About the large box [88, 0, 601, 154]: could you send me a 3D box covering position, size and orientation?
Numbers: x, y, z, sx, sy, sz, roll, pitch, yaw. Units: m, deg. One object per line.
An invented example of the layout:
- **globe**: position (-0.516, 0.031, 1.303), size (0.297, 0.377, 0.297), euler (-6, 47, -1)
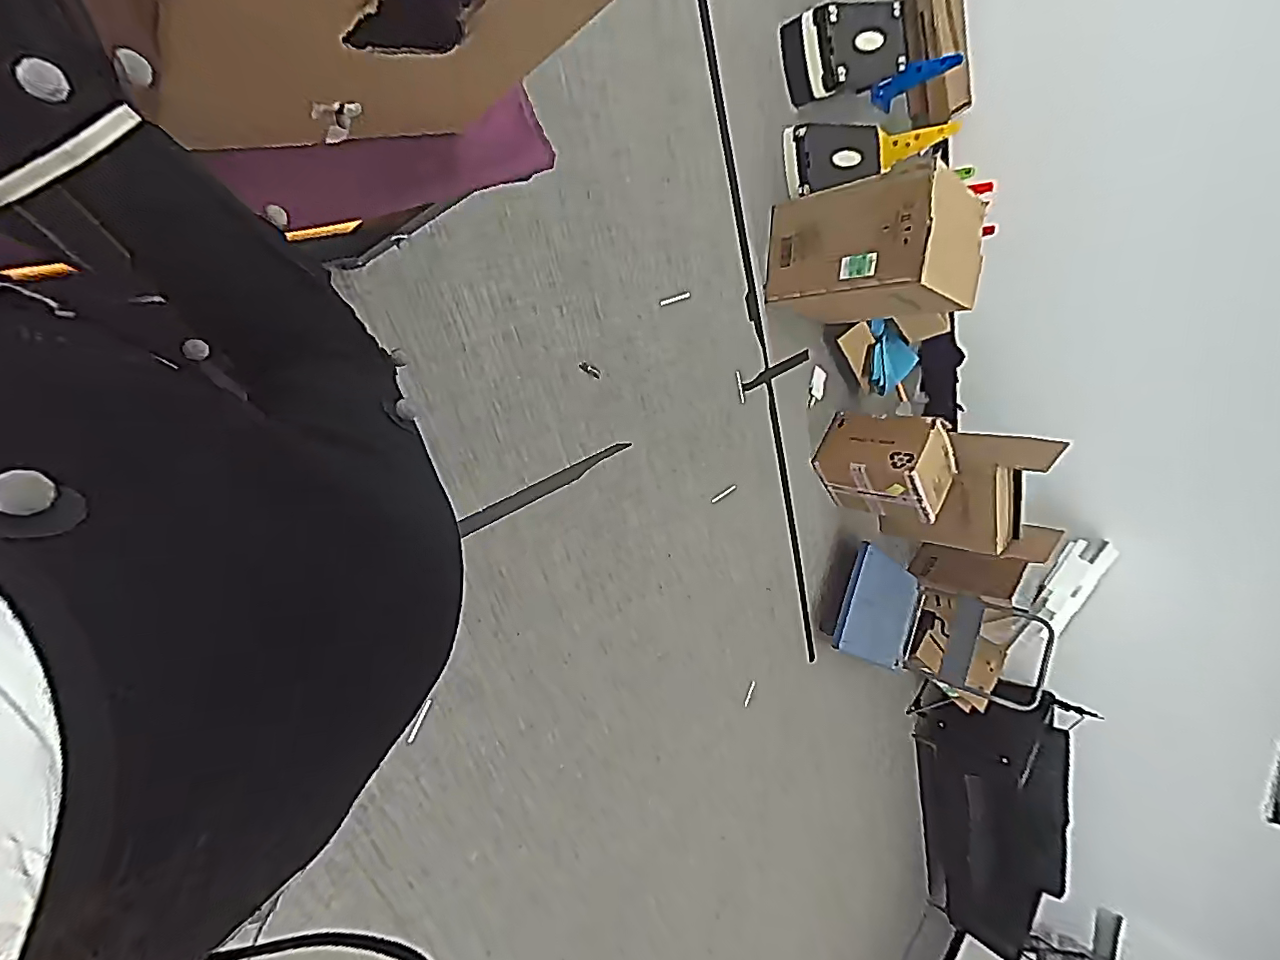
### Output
- **large box**: position (-0.269, -0.515, 0.384), size (0.320, 0.320, 0.408), euler (-32, 116, -36)
